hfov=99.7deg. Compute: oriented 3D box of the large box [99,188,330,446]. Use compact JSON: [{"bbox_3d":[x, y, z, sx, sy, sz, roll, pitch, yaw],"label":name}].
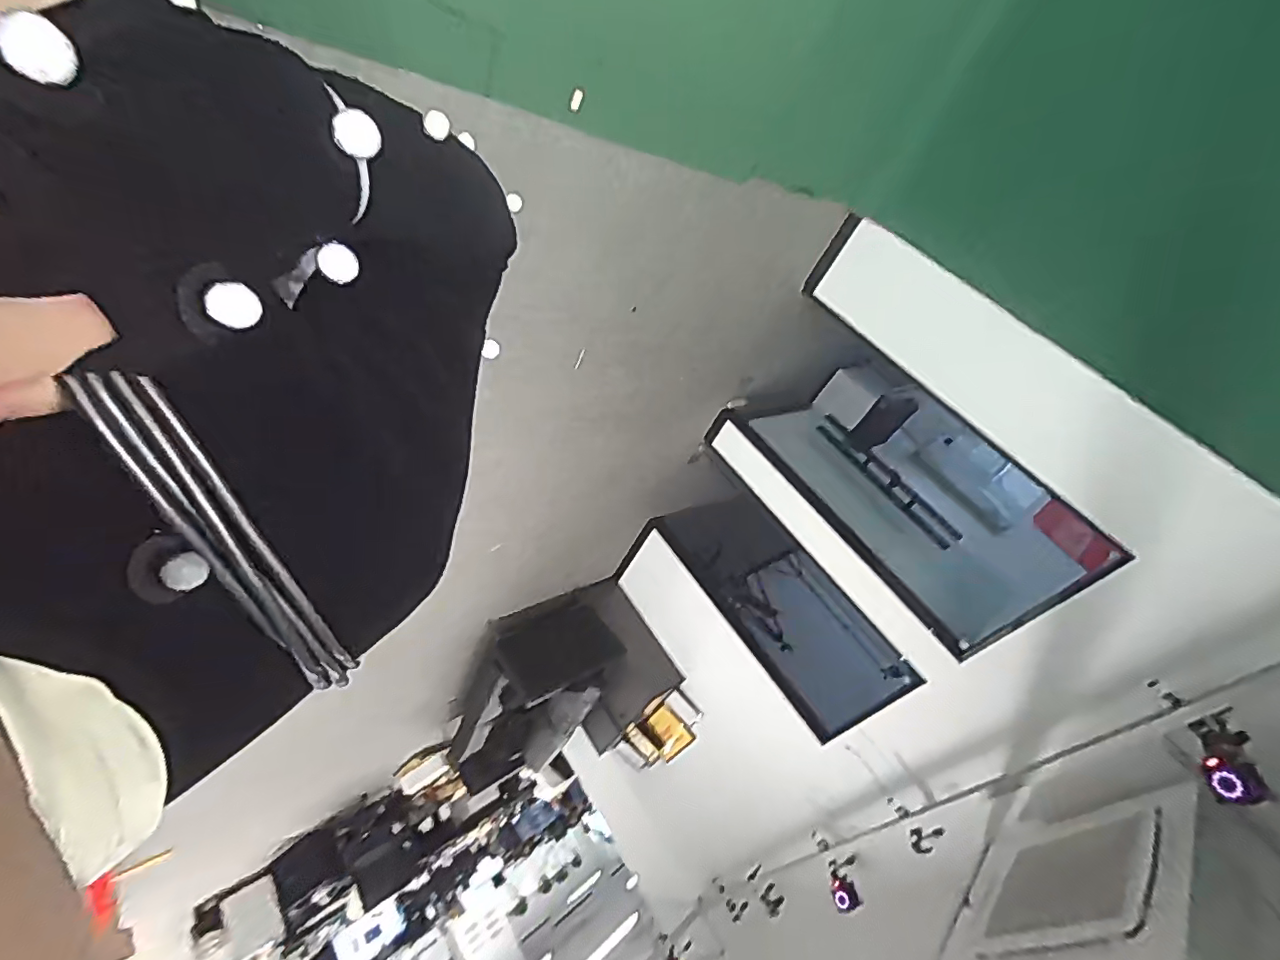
[{"bbox_3d":[-0.926,-0.326,1.167,0.320,0.320,0.408,-6,141,-50],"label":"large box"}]
